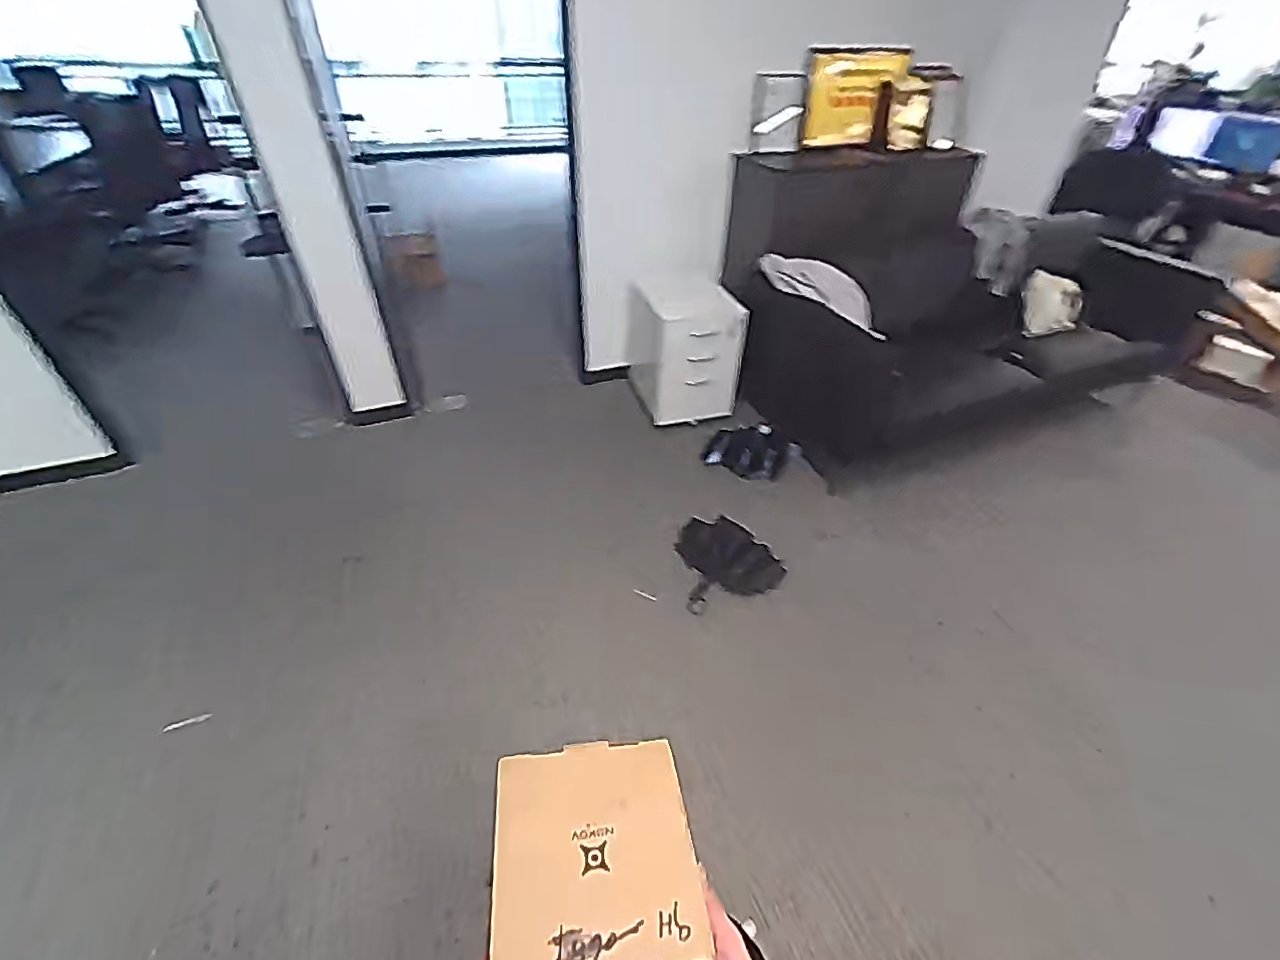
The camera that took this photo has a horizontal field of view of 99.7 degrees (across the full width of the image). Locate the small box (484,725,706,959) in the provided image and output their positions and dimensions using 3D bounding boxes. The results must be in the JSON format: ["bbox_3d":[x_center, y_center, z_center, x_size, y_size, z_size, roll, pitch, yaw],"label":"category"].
[{"bbox_3d":[-0.052,0.363,0.500,0.168,0.176,0.179,-3,35,-12],"label":"small box"}]
